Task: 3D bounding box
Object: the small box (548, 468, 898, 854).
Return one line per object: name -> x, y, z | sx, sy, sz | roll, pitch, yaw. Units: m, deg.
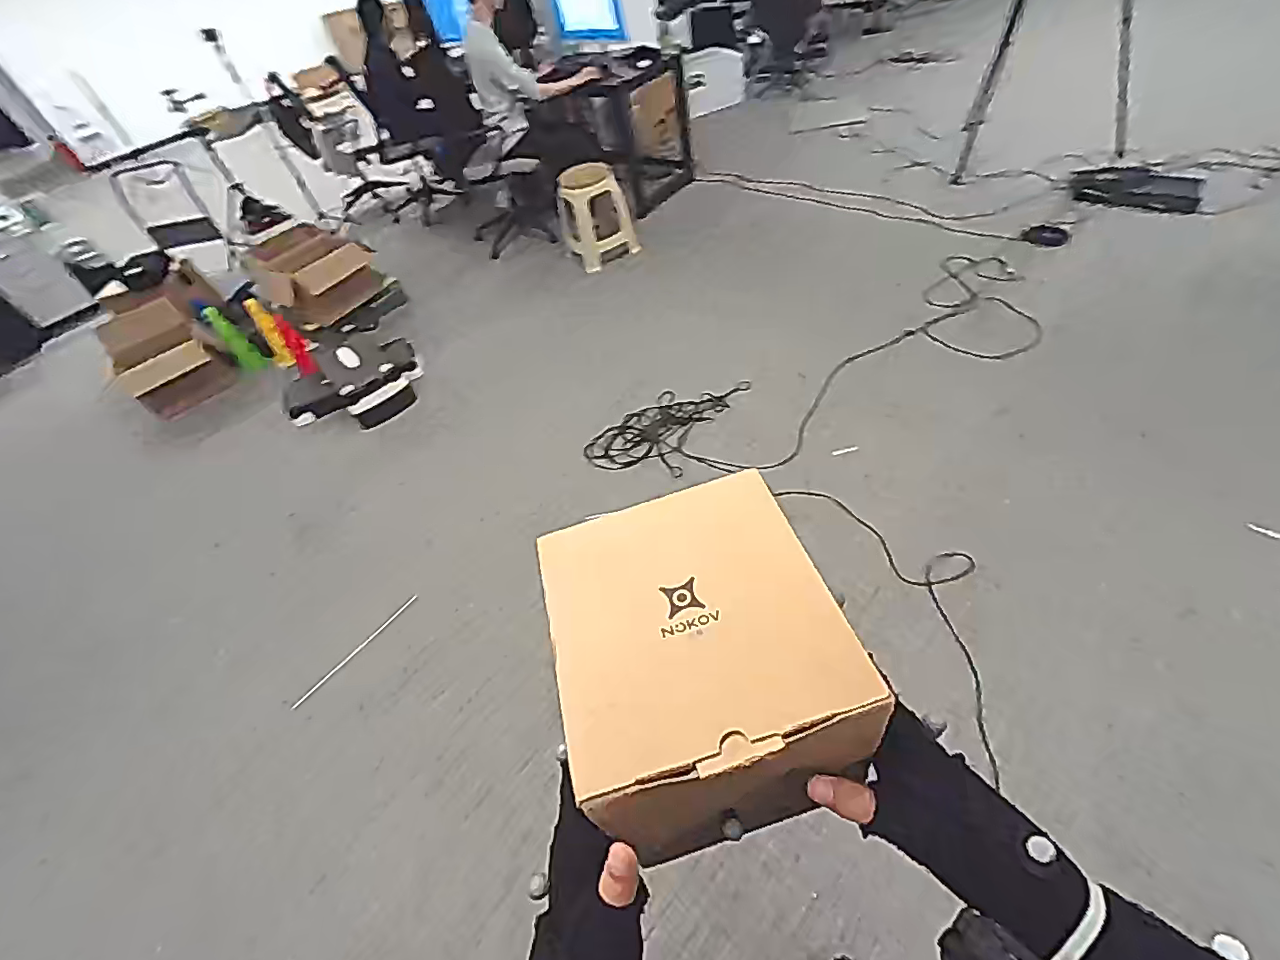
small box -> 0.045, 0.126, 0.379 | 0.168, 0.176, 0.179 | -18, 45, -2
